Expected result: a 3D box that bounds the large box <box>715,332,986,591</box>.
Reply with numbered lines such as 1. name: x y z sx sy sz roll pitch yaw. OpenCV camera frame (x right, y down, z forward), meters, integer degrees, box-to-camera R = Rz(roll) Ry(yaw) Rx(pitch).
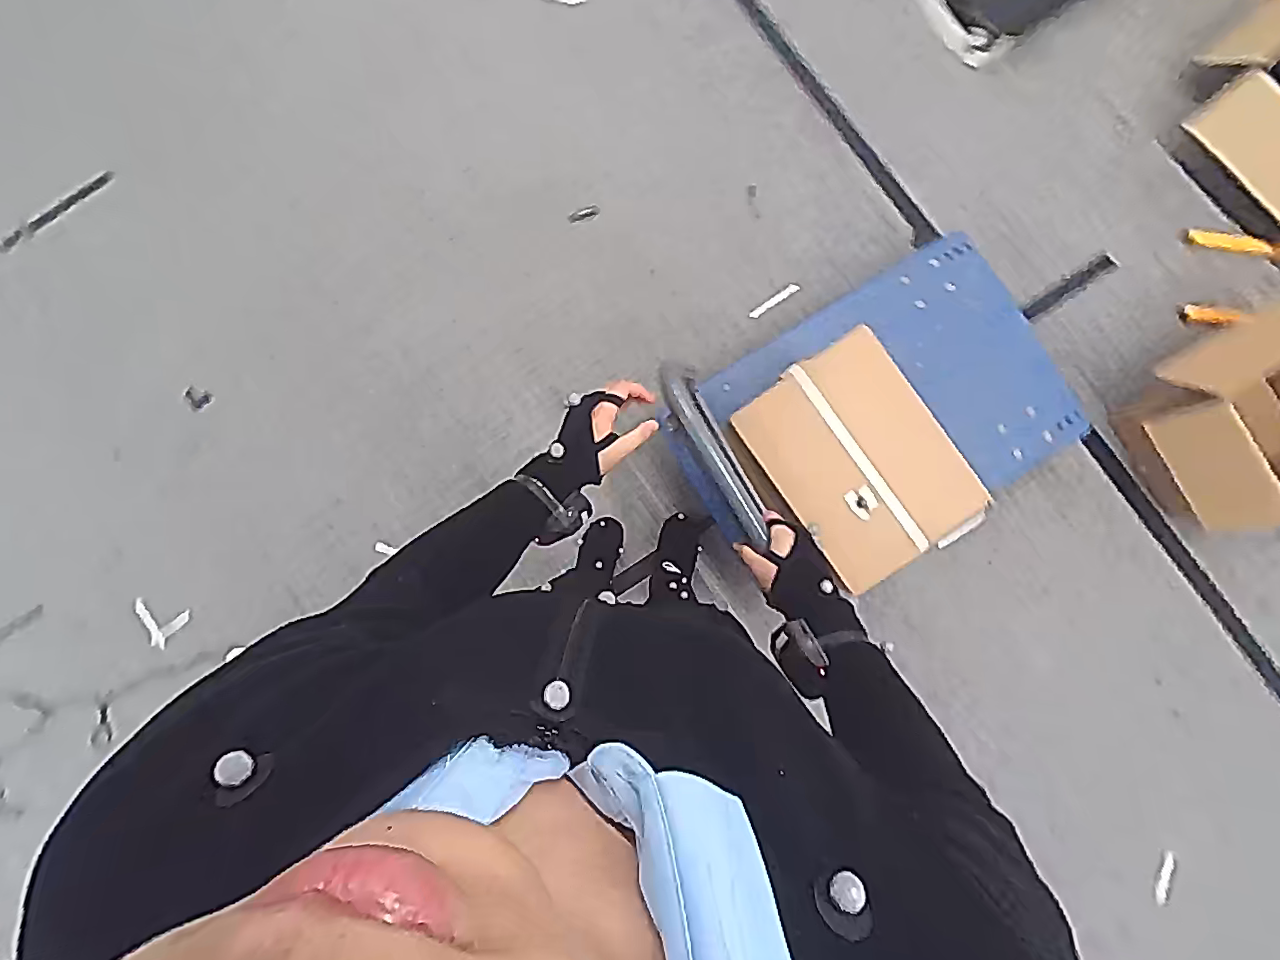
1. large box: 0.411 -0.033 1.160 0.320 0.320 0.408 -34 88 1
